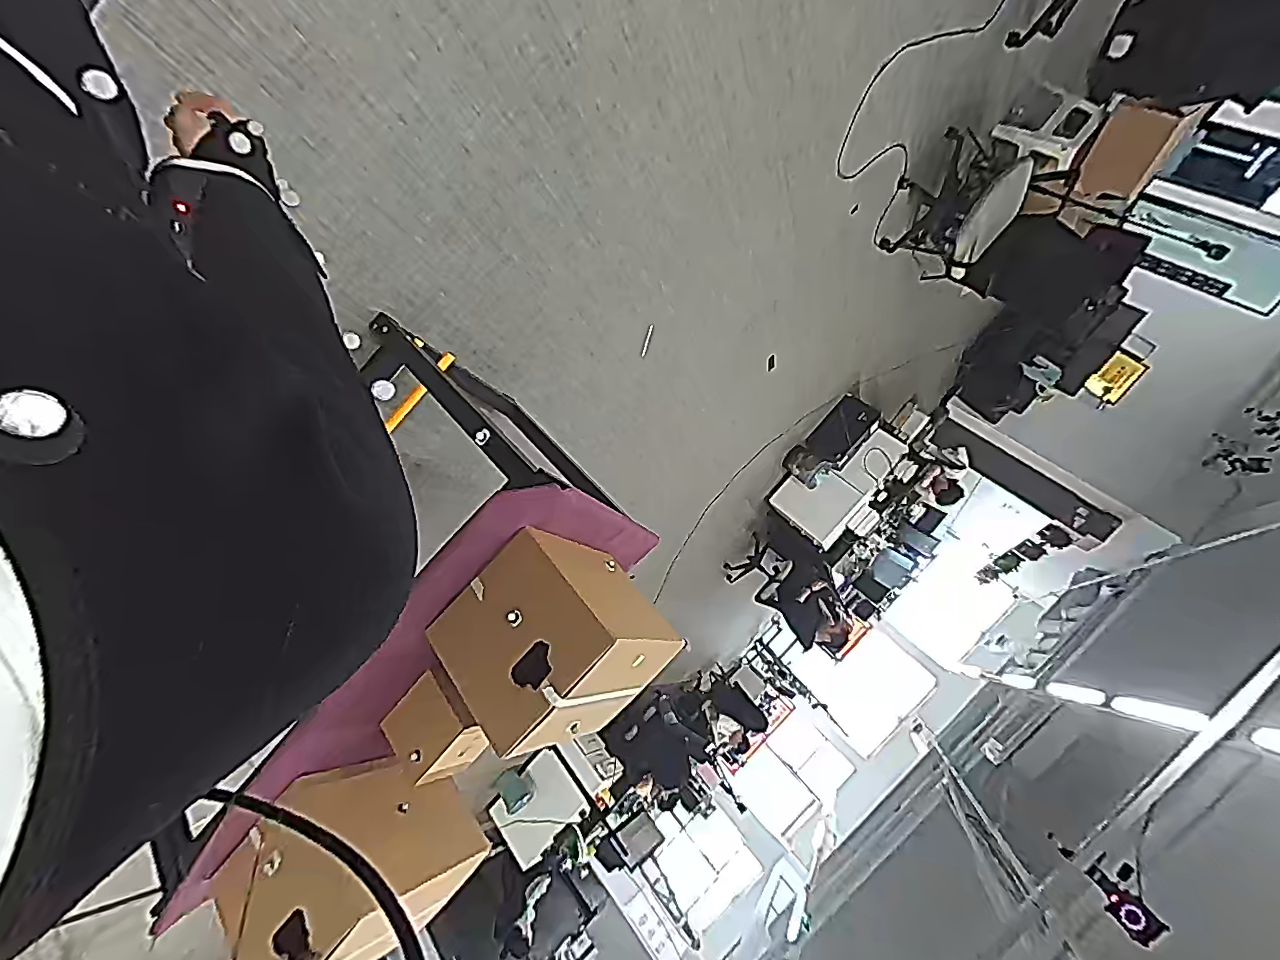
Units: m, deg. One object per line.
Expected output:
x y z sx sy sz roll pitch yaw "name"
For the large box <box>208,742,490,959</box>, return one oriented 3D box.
-0.638 0.858 1.227 0.320 0.320 0.408 -48 154 3 "large box"
